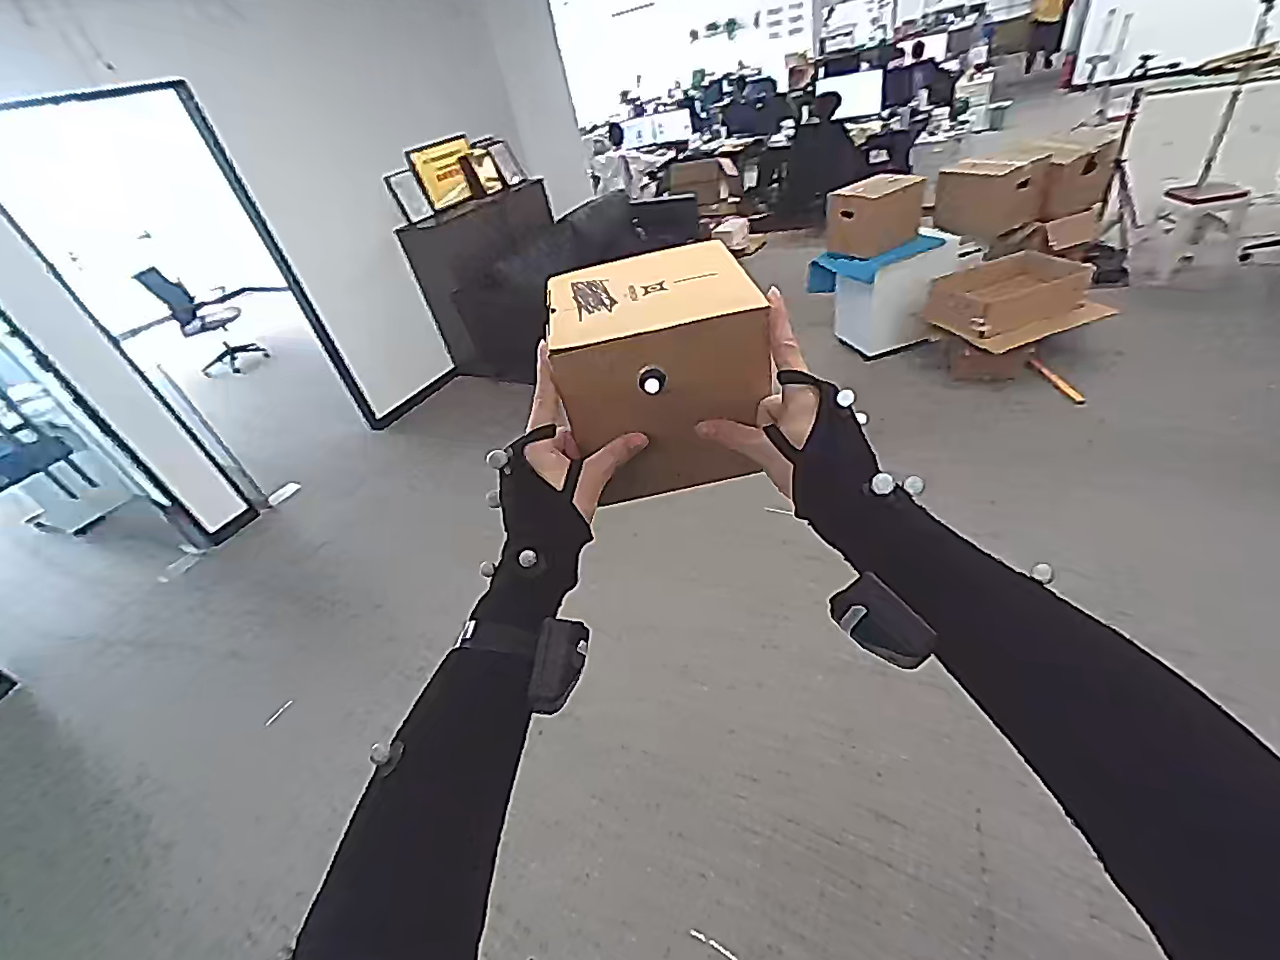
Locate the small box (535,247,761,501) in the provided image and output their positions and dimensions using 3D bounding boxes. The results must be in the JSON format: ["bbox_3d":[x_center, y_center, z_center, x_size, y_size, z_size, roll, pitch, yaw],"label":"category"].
[{"bbox_3d":[0.010,-0.100,0.524,0.179,0.176,0.168,-12,40,1],"label":"small box"}]
